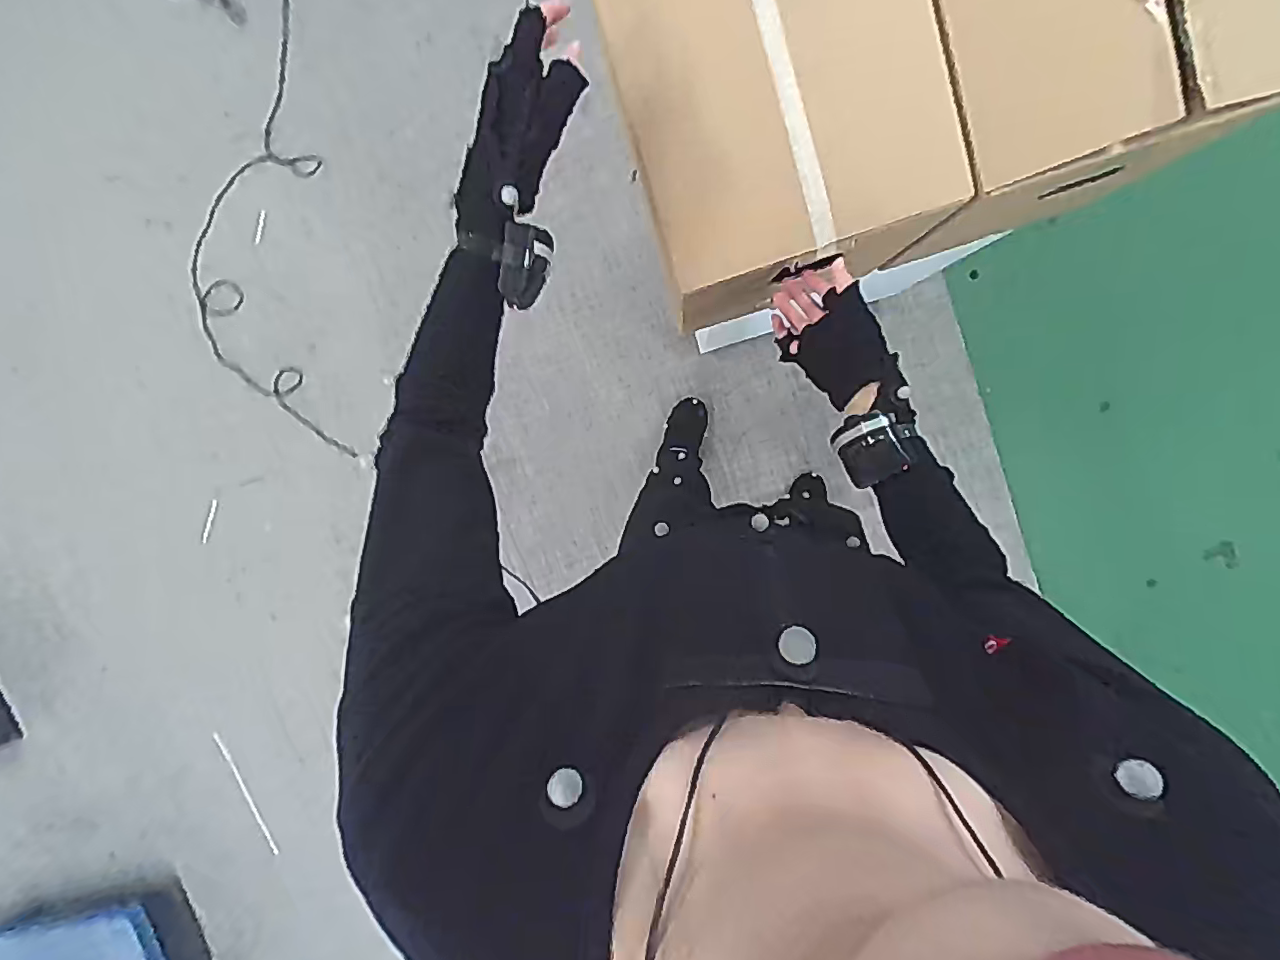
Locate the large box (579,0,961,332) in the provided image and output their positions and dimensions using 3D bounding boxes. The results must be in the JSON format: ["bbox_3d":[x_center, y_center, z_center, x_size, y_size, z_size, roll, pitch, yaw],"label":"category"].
[{"bbox_3d":[0.135,-0.450,0.692,0.320,0.320,0.408,-17,95,7],"label":"large box"}]
